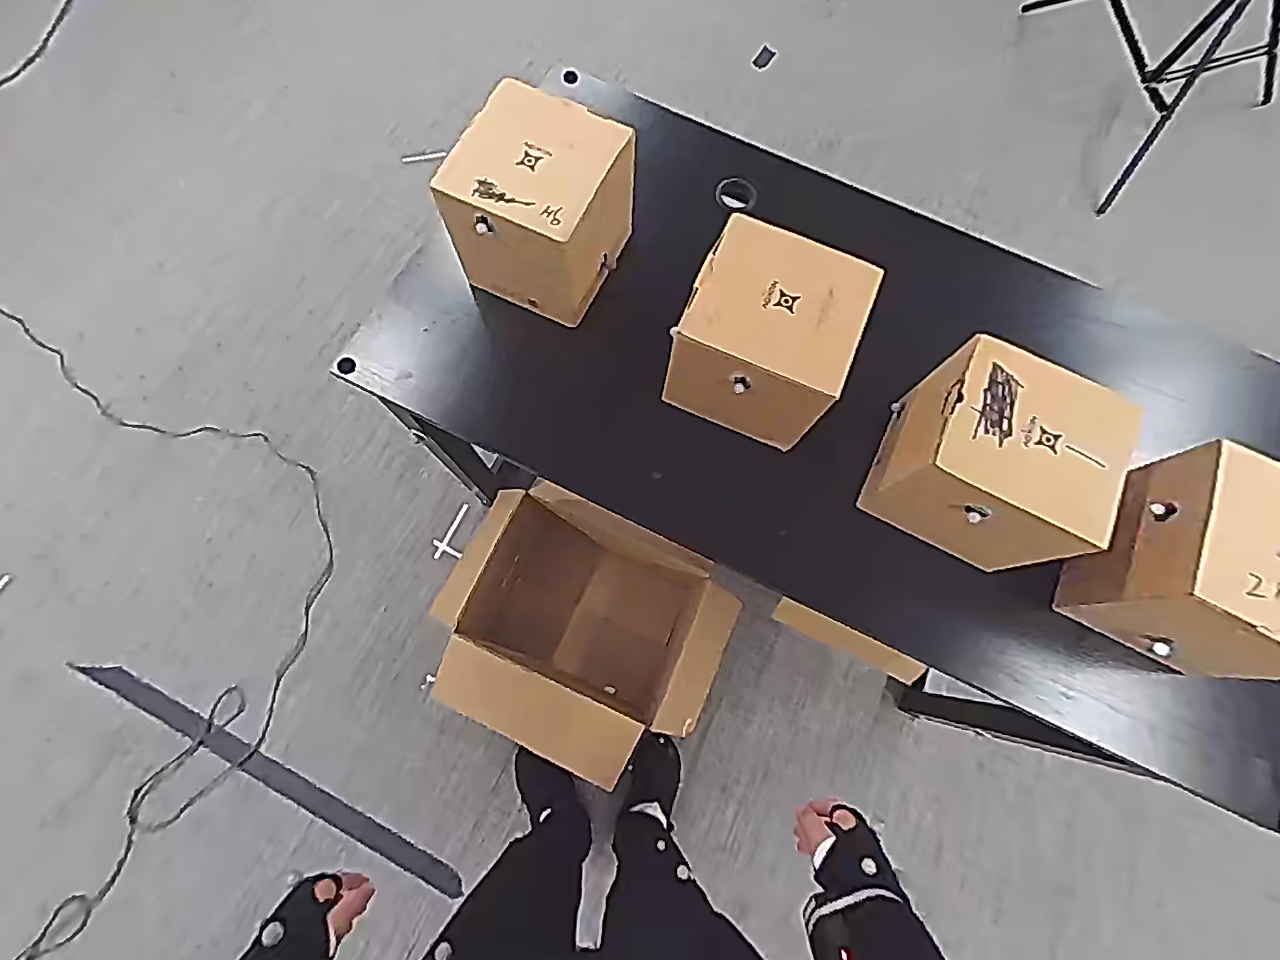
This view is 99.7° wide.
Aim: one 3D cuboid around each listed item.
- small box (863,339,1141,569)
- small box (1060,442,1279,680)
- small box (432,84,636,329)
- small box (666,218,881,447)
[{"bbox_3d":[0.380,-0.016,0.598,0.179,0.176,0.168,28,74,6],"label":"small box"},{"bbox_3d":[0.598,0.093,0.575,0.168,0.176,0.179,27,74,7],"label":"small box"},{"bbox_3d":[-0.119,-0.325,0.667,0.168,0.176,0.179,25,74,4],"label":"small box"},{"bbox_3d":[0.141,-0.158,0.632,0.179,0.176,0.168,23,75,3],"label":"small box"}]
